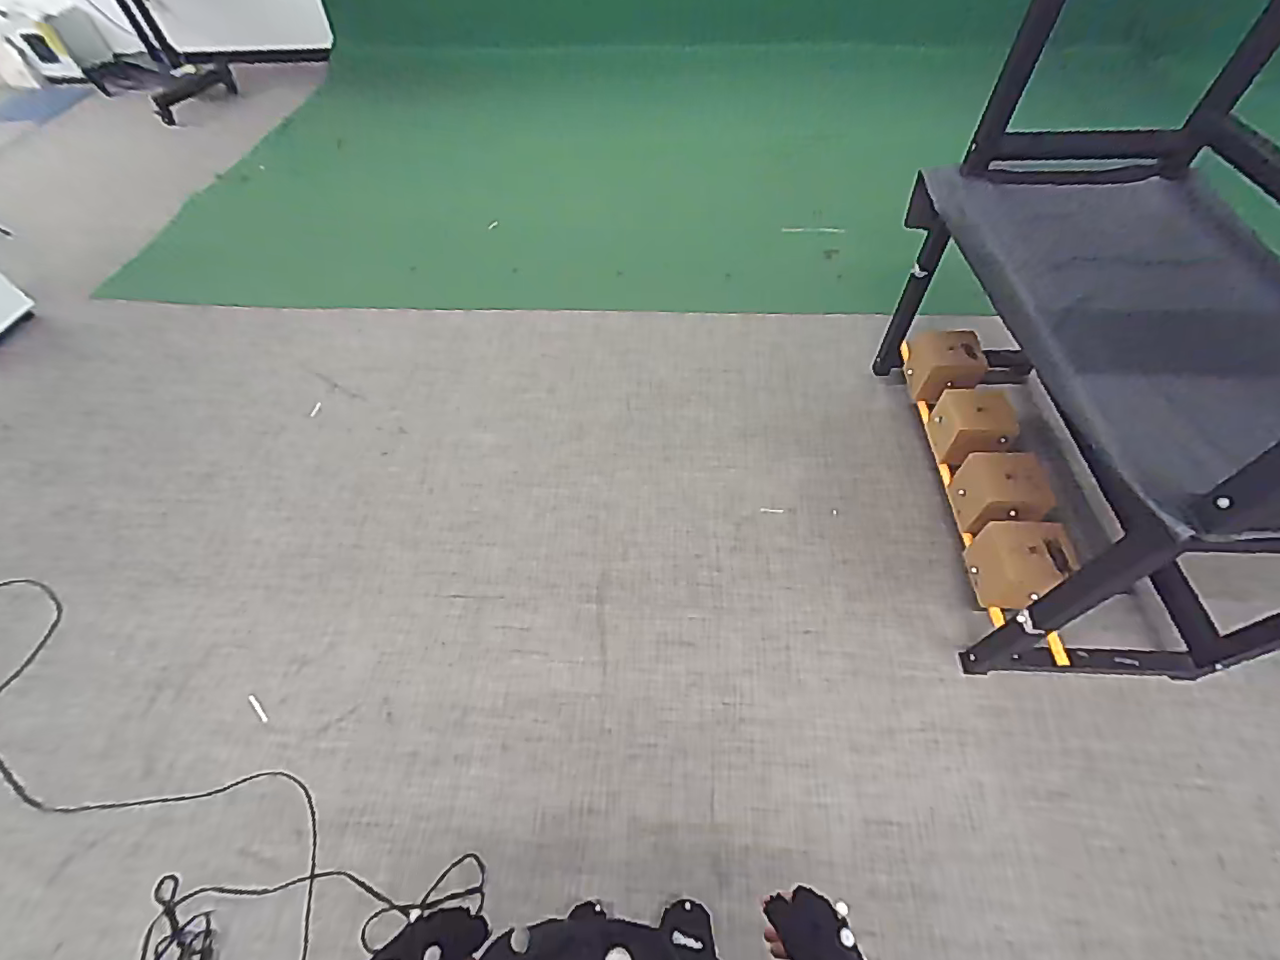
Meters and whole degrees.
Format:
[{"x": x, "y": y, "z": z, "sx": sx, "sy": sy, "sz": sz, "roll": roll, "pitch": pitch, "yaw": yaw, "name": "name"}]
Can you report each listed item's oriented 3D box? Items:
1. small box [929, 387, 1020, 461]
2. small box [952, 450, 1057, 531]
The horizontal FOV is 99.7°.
[{"x": 1.012, "y": -0.167, "z": 1.659, "sx": 0.179, "sy": 0.176, "sz": 0.168, "roll": 2, "pitch": 55, "yaw": 5, "name": "small box"}, {"x": 1.004, "y": 0.032, "z": 1.515, "sx": 0.179, "sy": 0.176, "sz": 0.168, "roll": 1, "pitch": 54, "yaw": 4, "name": "small box"}]
